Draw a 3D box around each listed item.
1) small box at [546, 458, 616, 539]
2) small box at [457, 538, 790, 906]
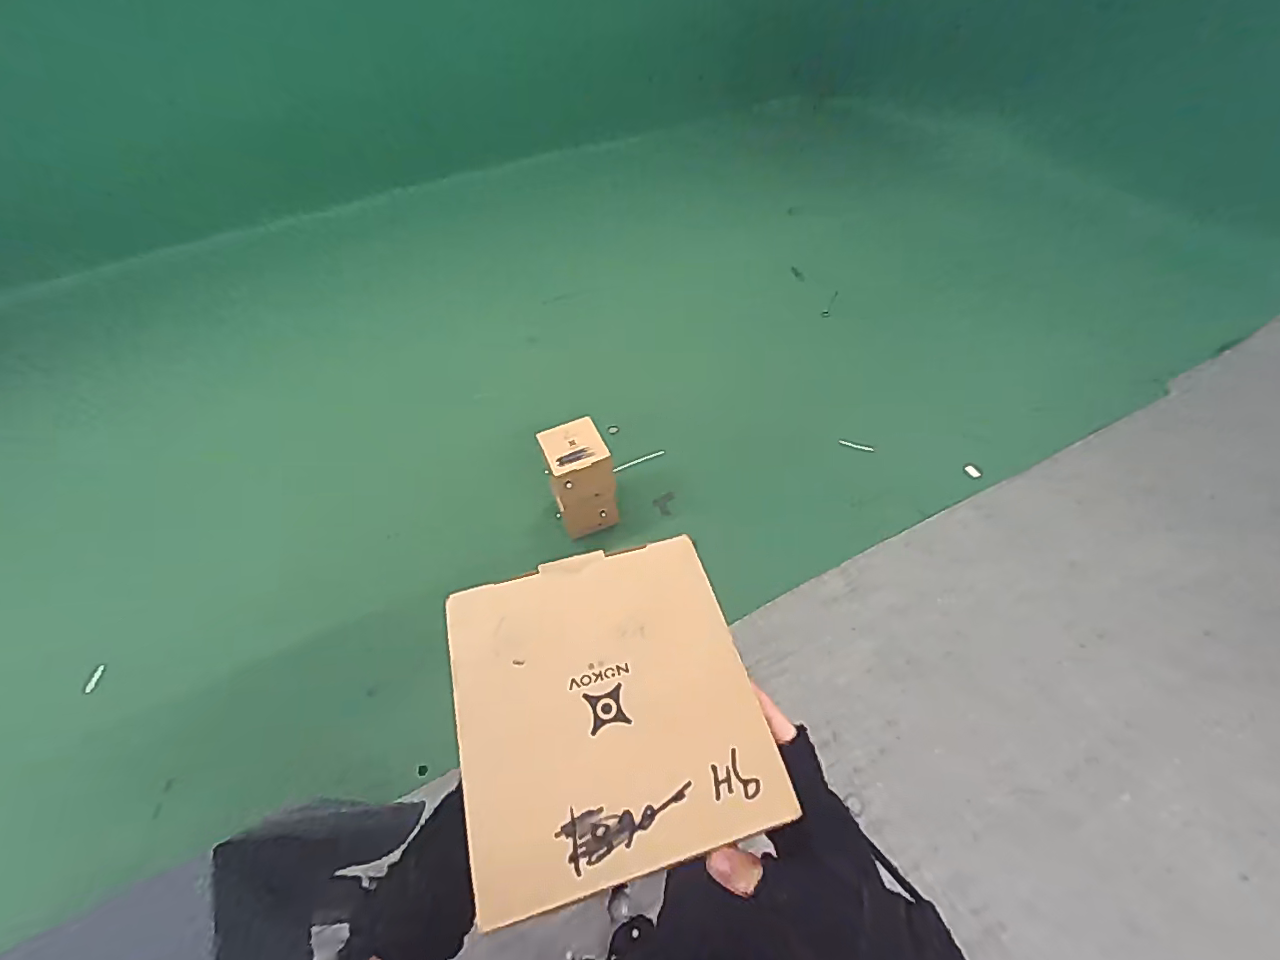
[{"bbox_3d":[-0.182,0.067,1.713,0.168,0.176,0.179,-19,54,-12],"label":"small box"},{"bbox_3d":[-0.021,0.172,0.383,0.168,0.176,0.179,-13,53,-10],"label":"small box"}]
